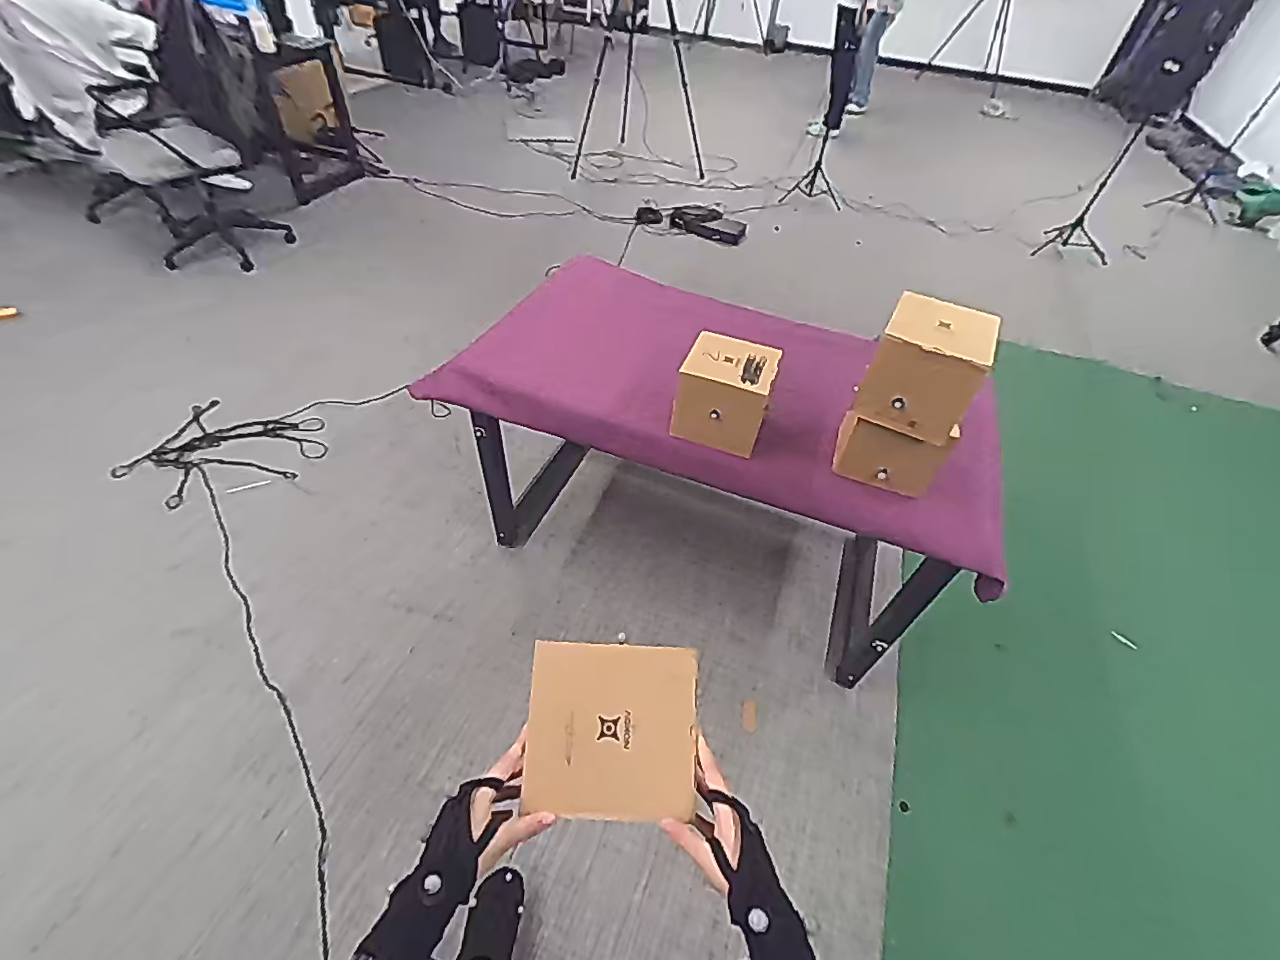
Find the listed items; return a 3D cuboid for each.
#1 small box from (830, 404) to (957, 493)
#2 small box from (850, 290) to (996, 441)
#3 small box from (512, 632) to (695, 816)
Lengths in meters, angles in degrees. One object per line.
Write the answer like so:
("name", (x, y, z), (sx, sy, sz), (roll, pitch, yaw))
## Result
("small box", (0.501, -0.097, 1.078), (0.179, 0.176, 0.168), (18, 47, 12))
("small box", (0.491, -0.201, 0.950), (0.168, 0.176, 0.179), (24, 50, 18))
("small box", (-0.035, 0.270, 0.623), (0.179, 0.176, 0.168), (3, 70, 0))
